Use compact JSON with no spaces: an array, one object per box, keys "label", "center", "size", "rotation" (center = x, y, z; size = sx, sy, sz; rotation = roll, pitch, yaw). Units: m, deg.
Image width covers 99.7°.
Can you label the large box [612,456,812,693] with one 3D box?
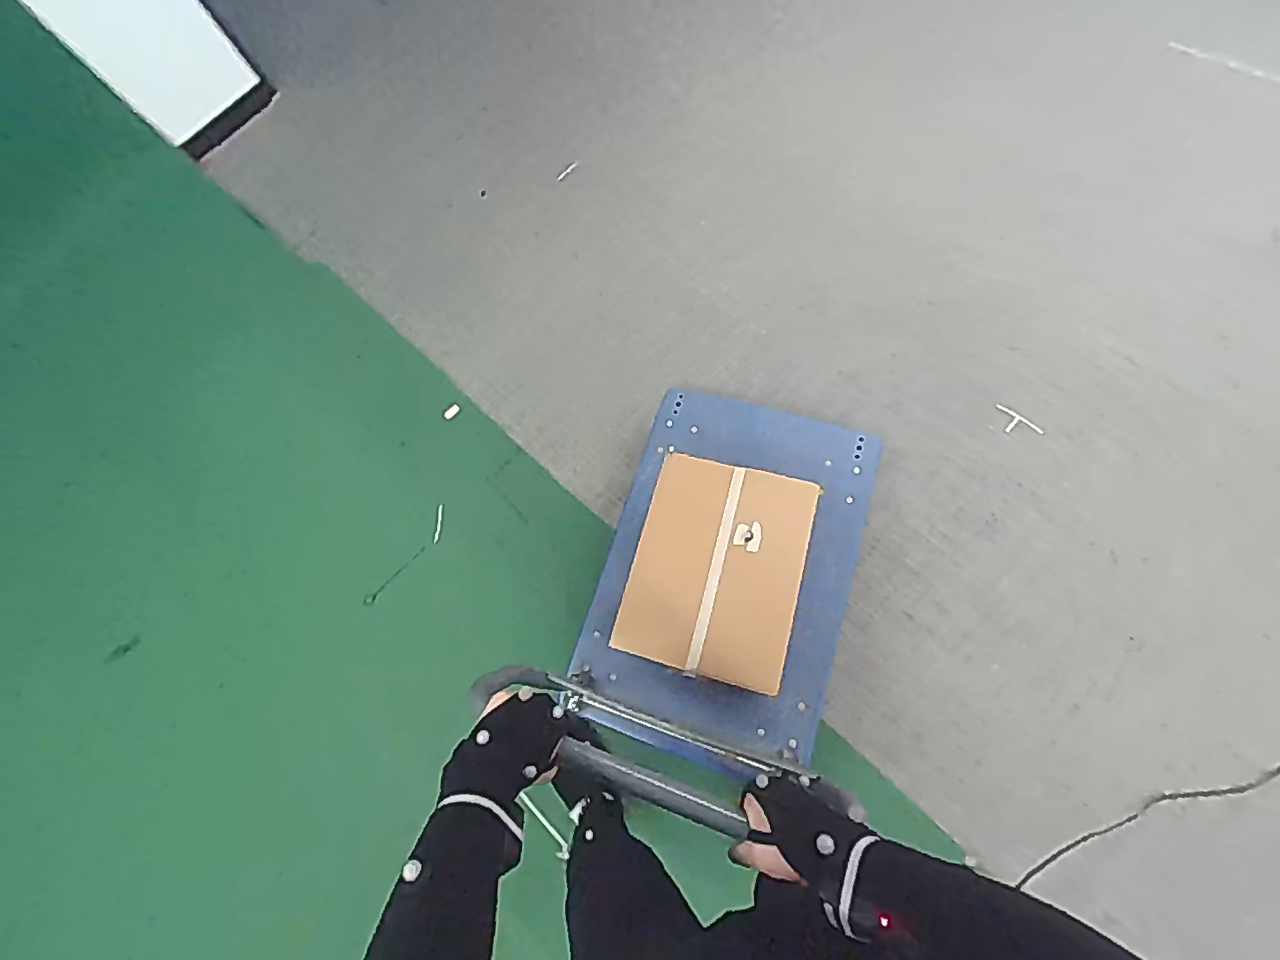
[{"label":"large box","center":[0.163,0.212,1.173],"size":[0.320,0.320,0.408],"rotation":[13,73,12]}]
